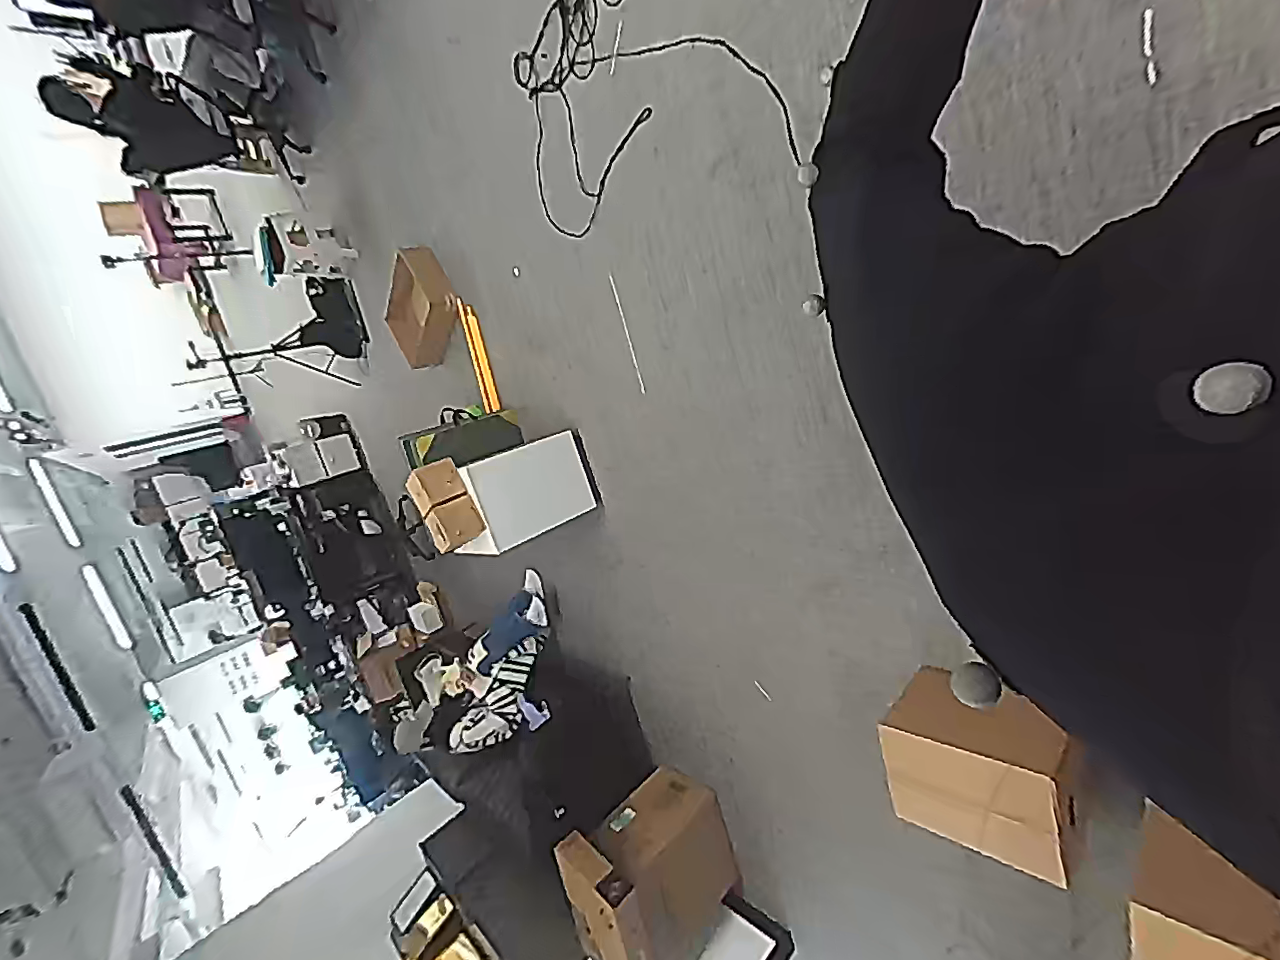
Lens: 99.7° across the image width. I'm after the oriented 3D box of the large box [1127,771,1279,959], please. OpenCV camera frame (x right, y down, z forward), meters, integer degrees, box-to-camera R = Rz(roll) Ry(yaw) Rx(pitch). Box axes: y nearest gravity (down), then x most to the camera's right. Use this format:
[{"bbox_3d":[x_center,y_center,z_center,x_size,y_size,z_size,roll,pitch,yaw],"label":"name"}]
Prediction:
[{"bbox_3d":[1.051,0.741,0.839,0.408,0.320,0.320,0,107,49],"label":"large box"}]
